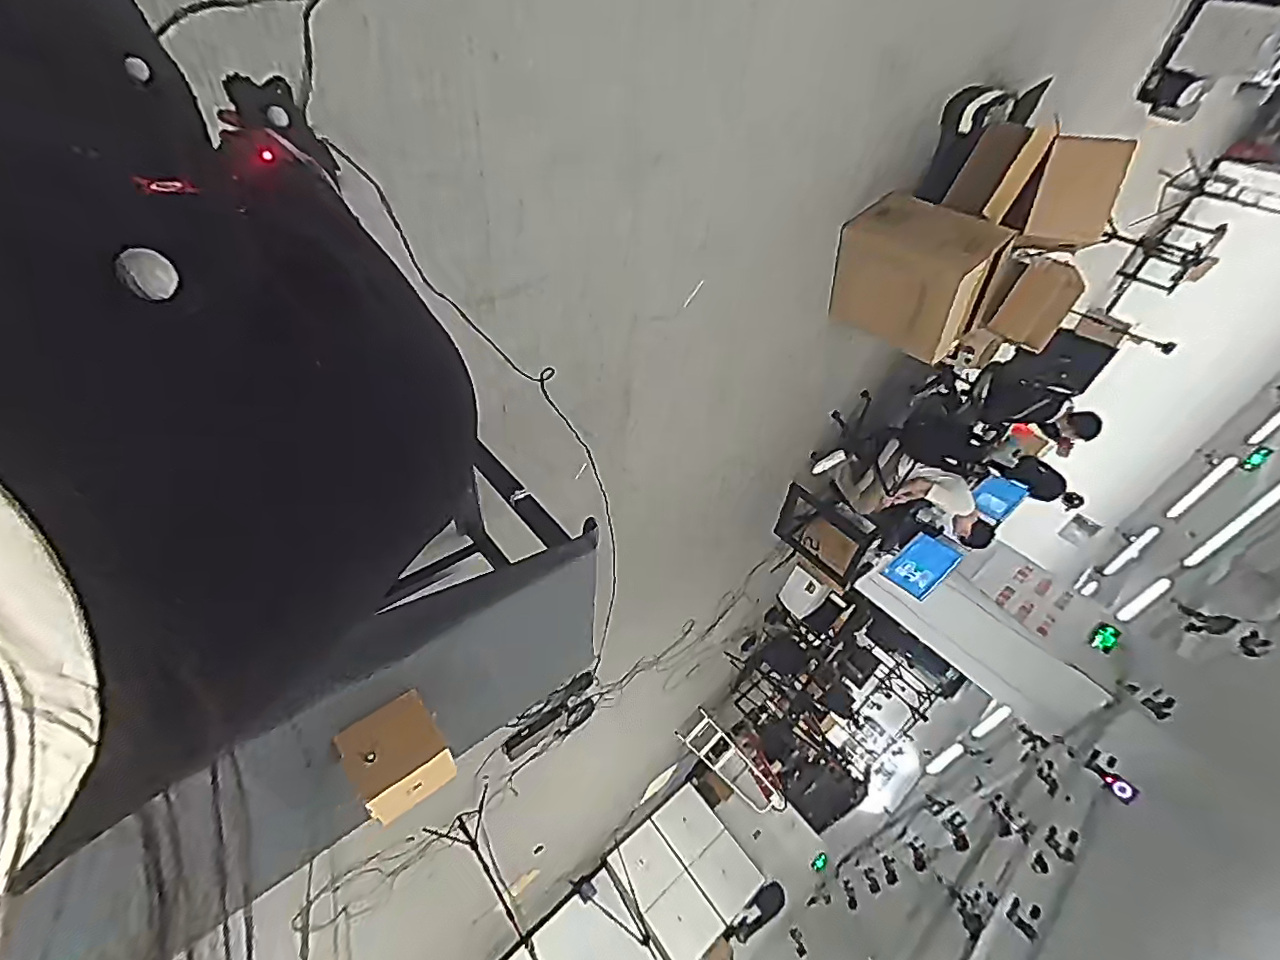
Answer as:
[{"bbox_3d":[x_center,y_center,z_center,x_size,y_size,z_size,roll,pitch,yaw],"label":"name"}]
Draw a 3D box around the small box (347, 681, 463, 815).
[{"bbox_3d":[-0.521,0.588,1.197,0.179,0.176,0.168,-30,146,-31],"label":"small box"}]
